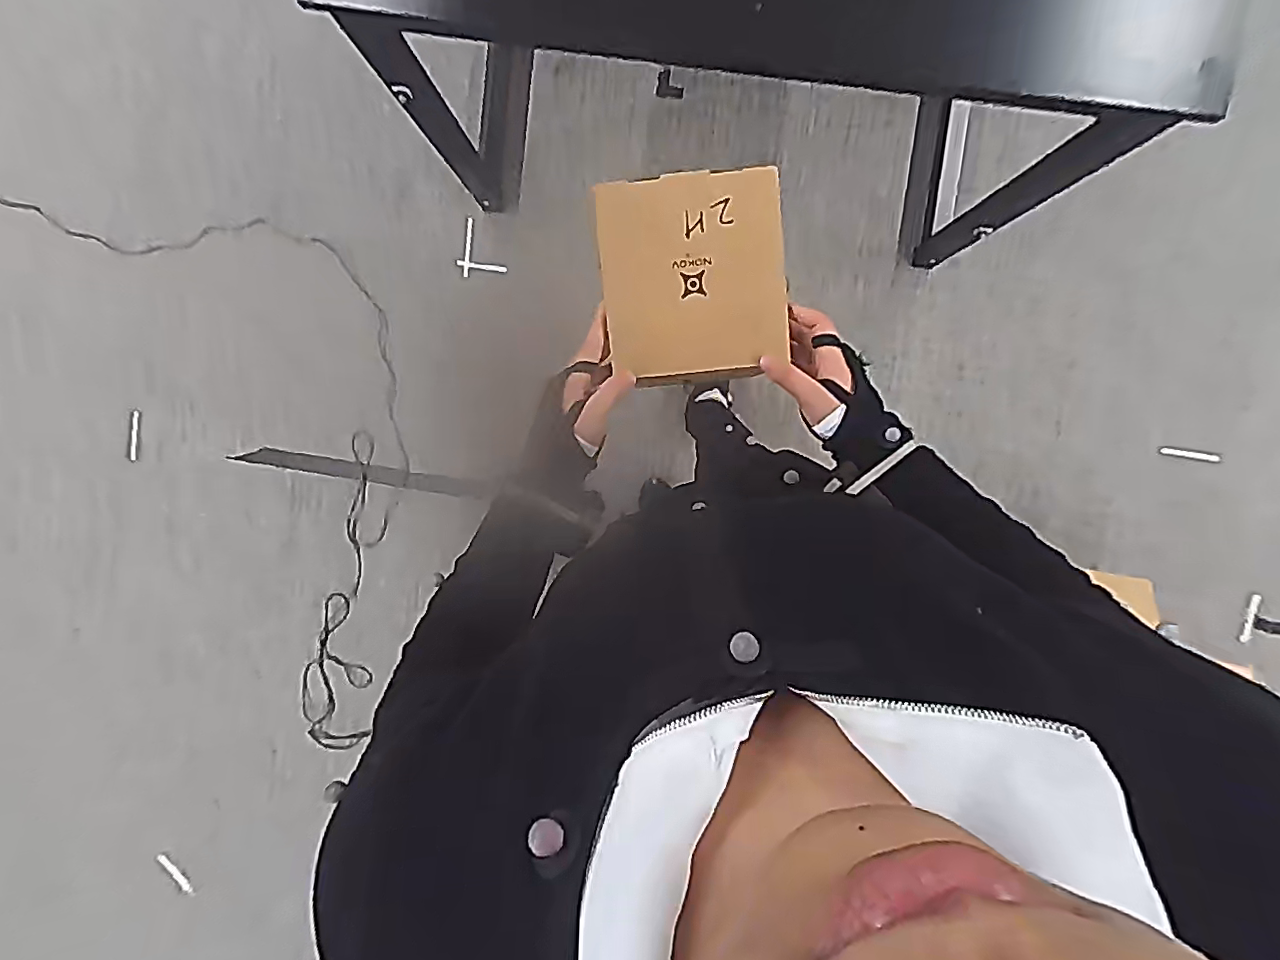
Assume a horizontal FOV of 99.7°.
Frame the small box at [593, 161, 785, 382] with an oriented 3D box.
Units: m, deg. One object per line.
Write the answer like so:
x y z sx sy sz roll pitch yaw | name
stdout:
0.047 -0.198 0.566 0.168 0.176 0.179 -6 96 0 | small box
